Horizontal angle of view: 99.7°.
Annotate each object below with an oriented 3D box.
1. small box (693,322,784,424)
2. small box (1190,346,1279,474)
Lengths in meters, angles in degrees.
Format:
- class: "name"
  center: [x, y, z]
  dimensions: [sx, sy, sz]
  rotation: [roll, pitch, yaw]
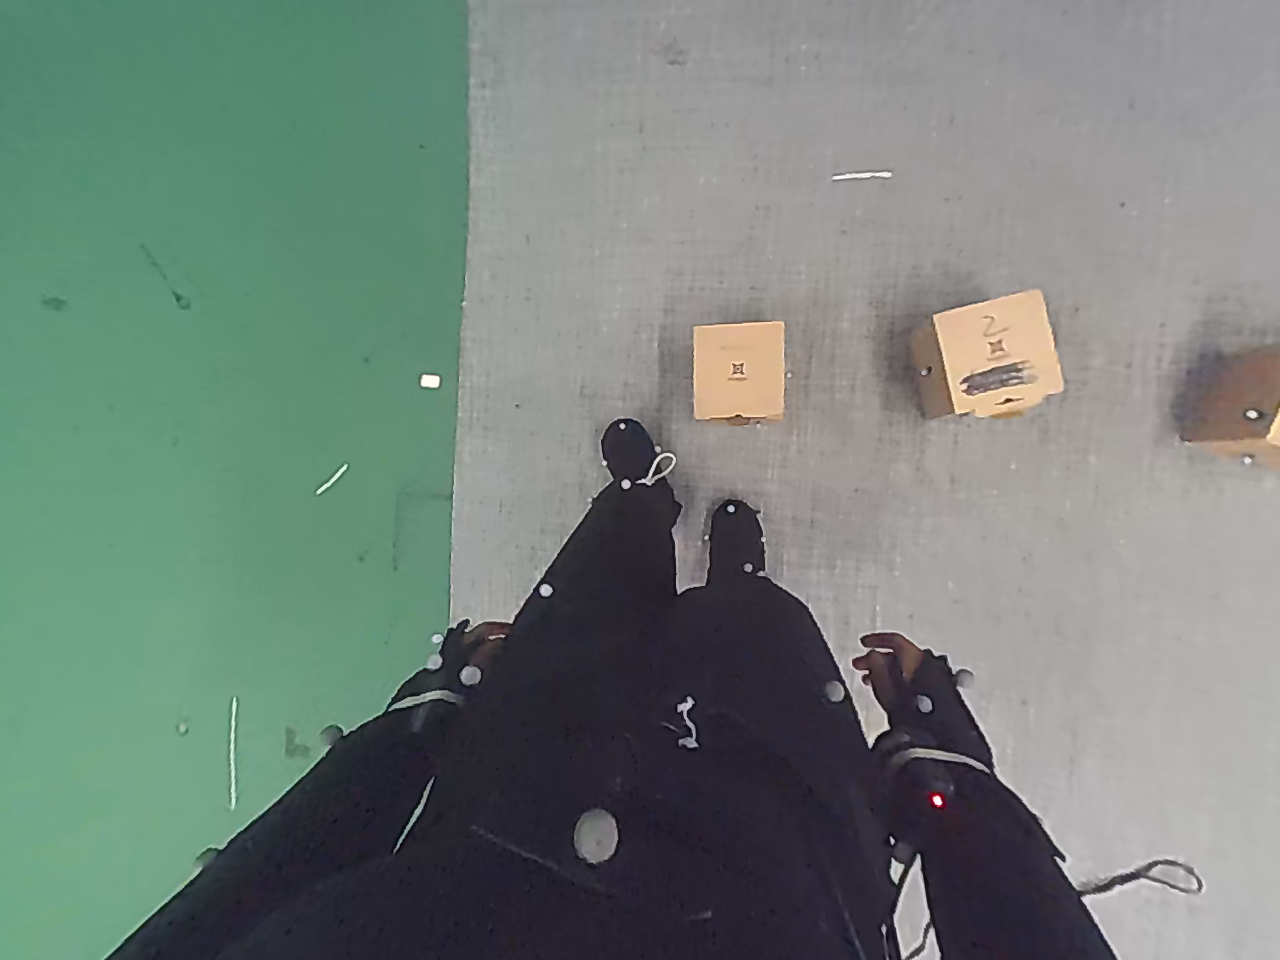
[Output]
- class: "small box"
  center: [0.195, -0.200, 1.061]
  dimensions: [0.168, 0.176, 0.179]
  rotation: [0, 92, 11]
- class: "small box"
  center: [1.067, -0.113, 0.873]
  dimensions: [0.168, 0.176, 0.179]
  rotation: [22, 97, 10]
